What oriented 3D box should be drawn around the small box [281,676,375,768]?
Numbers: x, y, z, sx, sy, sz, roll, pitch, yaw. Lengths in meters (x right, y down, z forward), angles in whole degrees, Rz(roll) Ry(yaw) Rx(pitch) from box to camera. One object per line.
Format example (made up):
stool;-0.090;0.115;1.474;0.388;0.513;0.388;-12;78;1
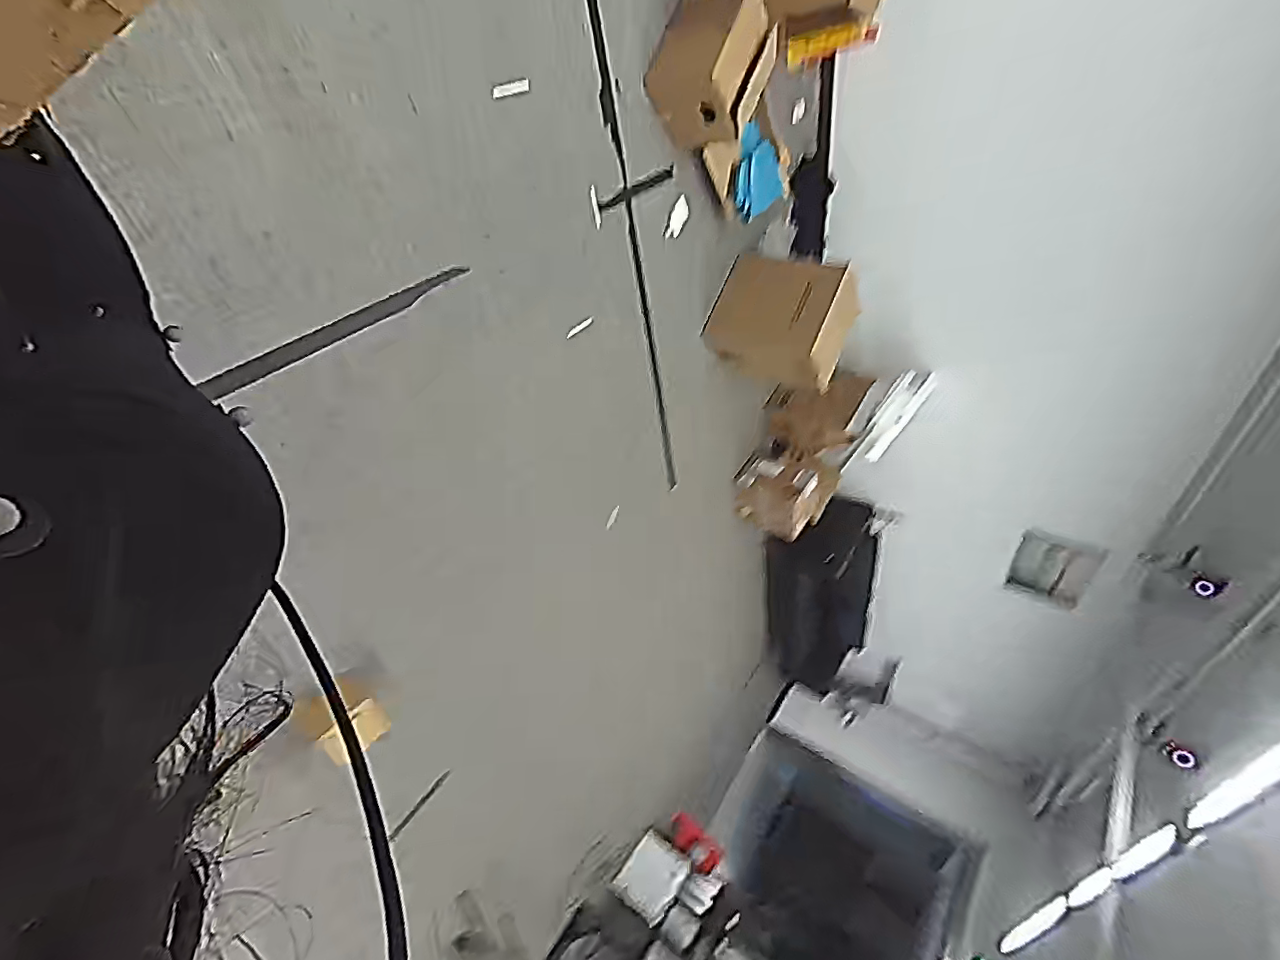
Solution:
small box;-0.990;0.762;1.717;0.168;0.176;0.179;-42;139;-37
